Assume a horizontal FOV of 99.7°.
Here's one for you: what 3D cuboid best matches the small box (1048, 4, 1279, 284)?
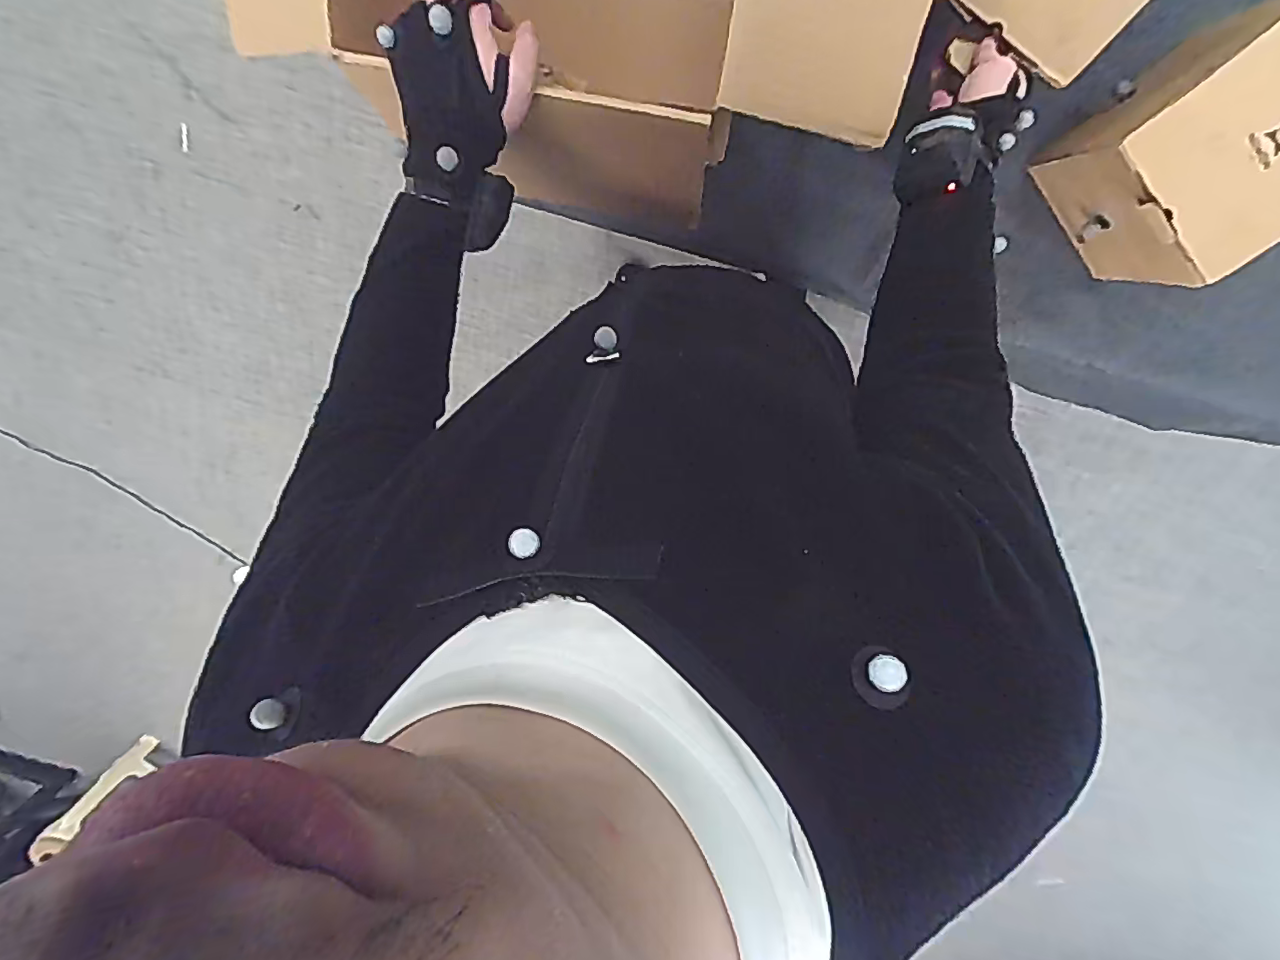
[{"bbox_3d":[0.559,-0.324,0.543,0.179,0.176,0.168,-37,103,23],"label":"small box"}]
